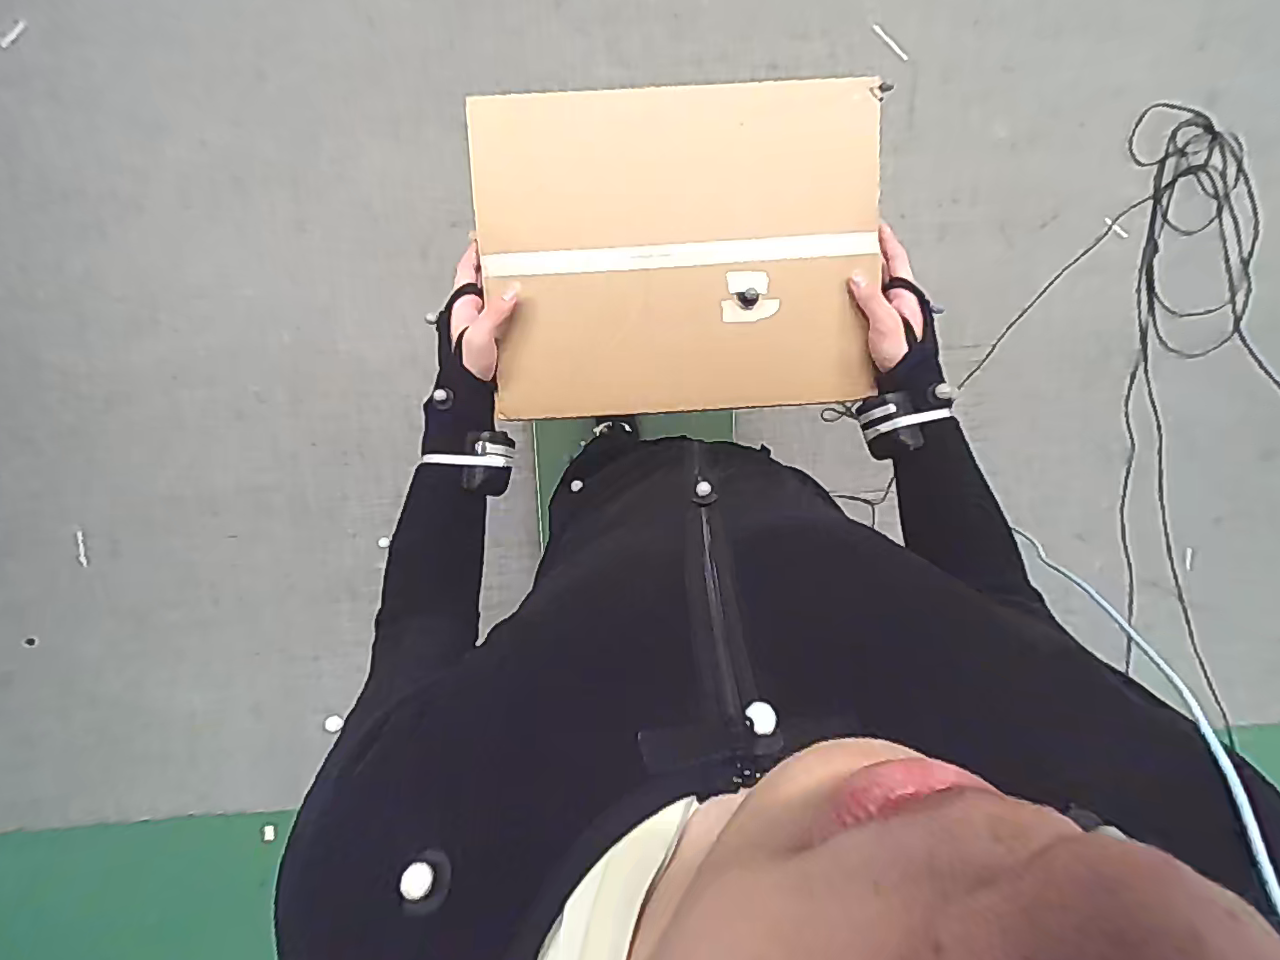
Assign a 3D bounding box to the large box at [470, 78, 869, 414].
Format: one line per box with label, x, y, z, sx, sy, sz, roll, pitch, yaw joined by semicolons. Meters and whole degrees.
large box;0.032;-0.257;0.705;0.408;0.320;0.320;-4;98;-1
